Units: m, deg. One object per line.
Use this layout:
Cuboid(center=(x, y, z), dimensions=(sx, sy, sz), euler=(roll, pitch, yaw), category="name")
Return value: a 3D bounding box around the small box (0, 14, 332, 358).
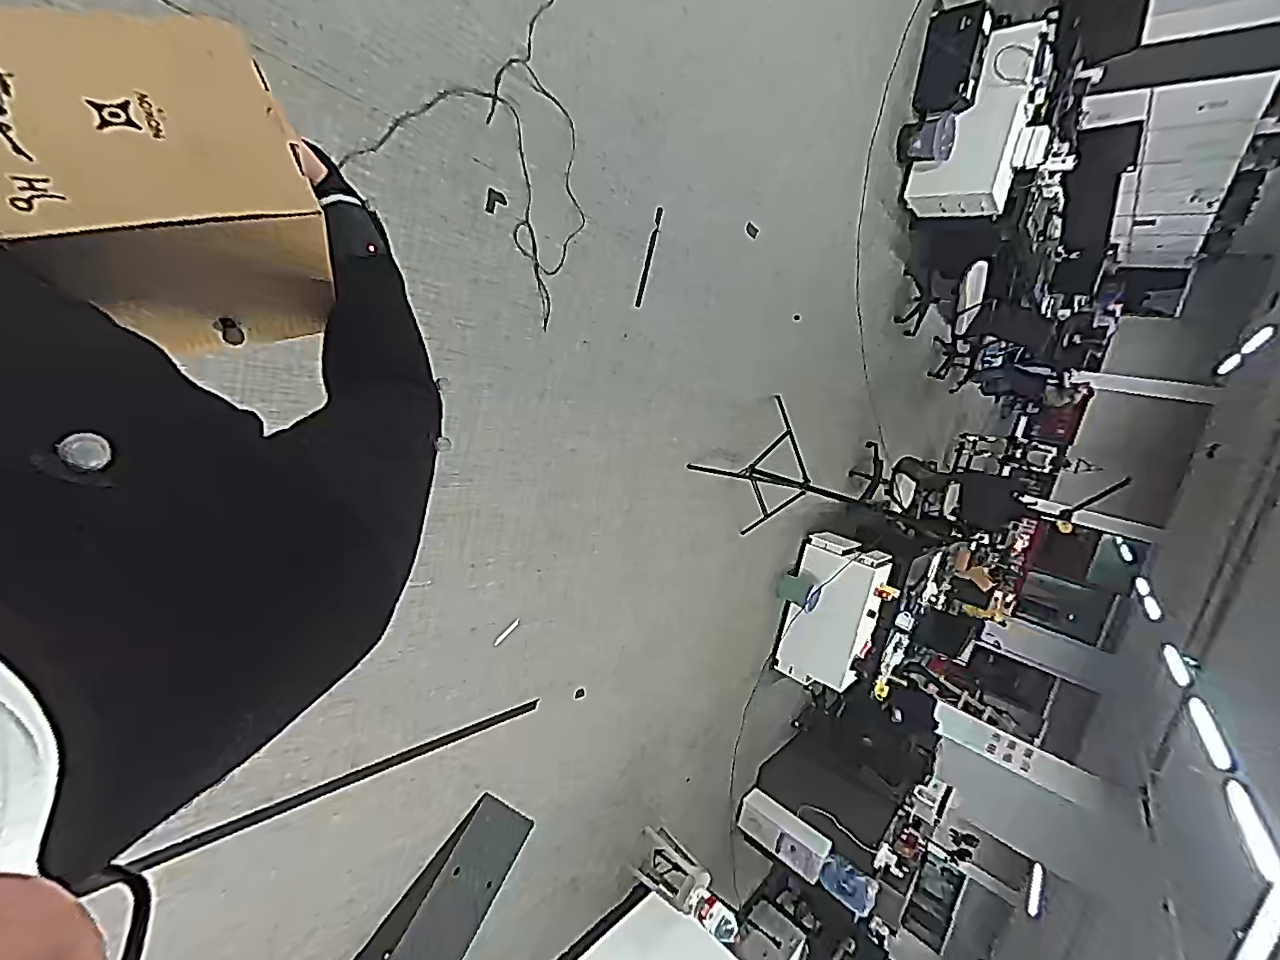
Cuboid(center=(-0.373, -0.223, 0.443), dimensions=(0.179, 0.176, 0.168), euler=(-22, 84, -30), category="small box")
